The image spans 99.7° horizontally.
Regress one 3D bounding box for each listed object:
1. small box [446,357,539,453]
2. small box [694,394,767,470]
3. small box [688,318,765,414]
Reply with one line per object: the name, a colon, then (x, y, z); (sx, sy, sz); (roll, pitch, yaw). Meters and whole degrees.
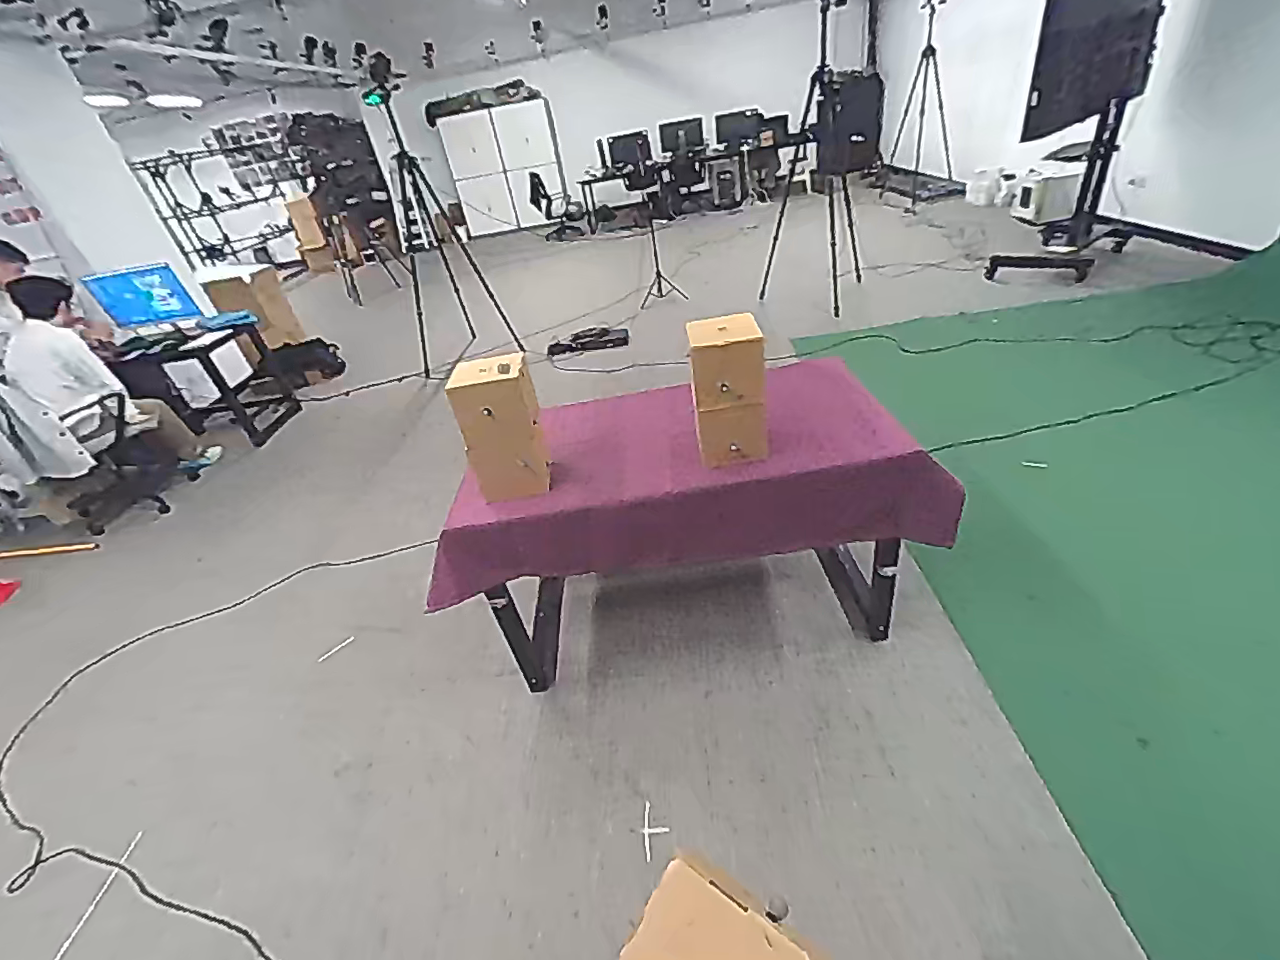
small box: (-0.359, -0.188, 1.357); (0.179, 0.176, 0.168); (-10, 34, 1)
small box: (0.234, -0.146, 1.415); (0.168, 0.176, 0.179); (-8, 34, 6)
small box: (0.209, -0.279, 1.325); (0.168, 0.176, 0.179); (-8, 35, 5)
